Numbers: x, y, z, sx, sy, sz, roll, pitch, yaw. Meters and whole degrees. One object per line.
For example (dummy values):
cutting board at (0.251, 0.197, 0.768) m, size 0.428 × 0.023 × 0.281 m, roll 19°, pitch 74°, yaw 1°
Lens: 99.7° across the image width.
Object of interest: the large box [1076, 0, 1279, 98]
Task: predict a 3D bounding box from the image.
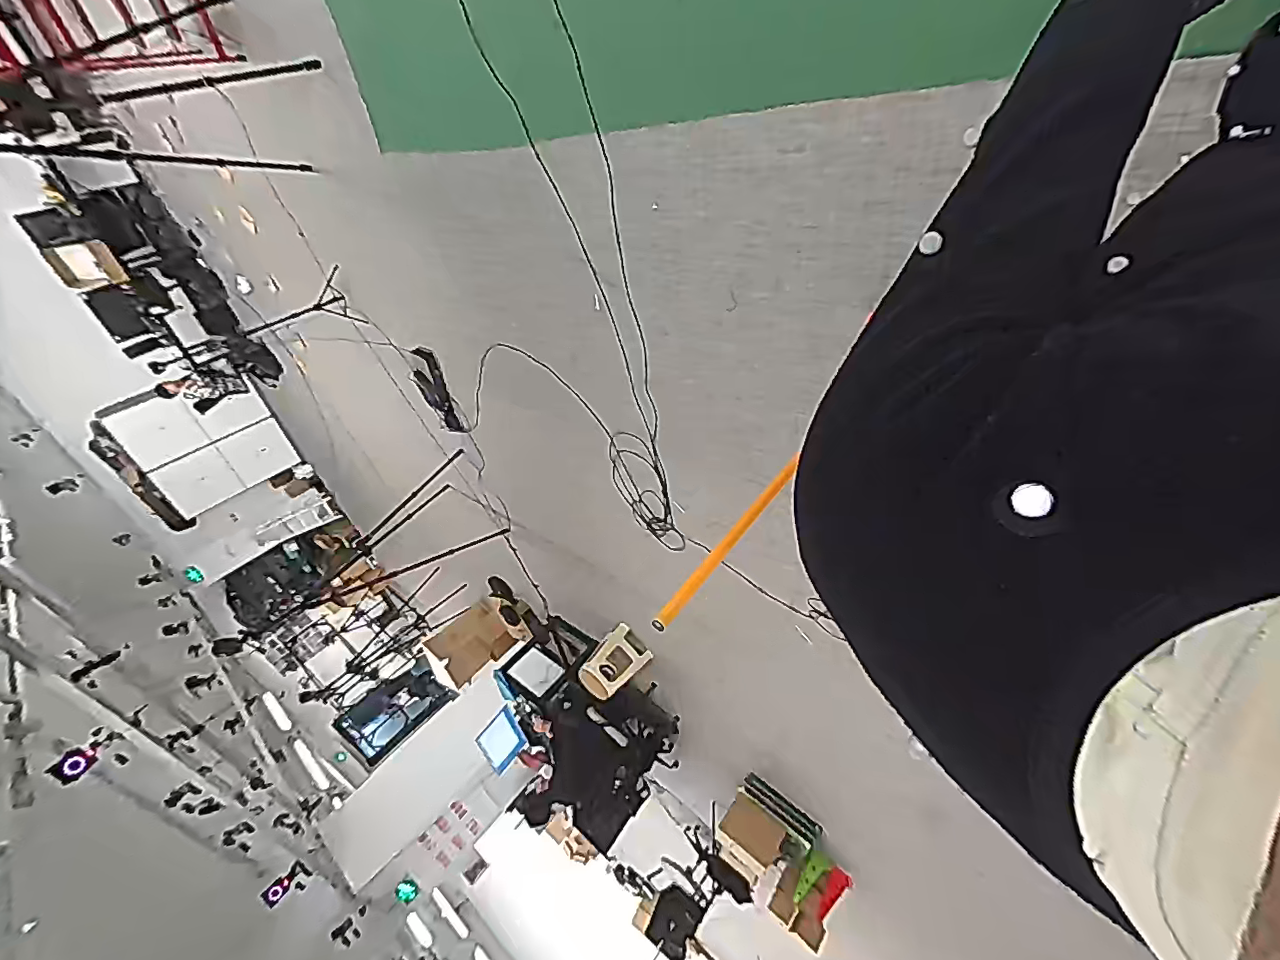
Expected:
large box at (0.436, -0.271, 0.144) m, size 0.320 × 0.320 × 0.408 m, roll 106°, pitch 151°, yaw -42°
